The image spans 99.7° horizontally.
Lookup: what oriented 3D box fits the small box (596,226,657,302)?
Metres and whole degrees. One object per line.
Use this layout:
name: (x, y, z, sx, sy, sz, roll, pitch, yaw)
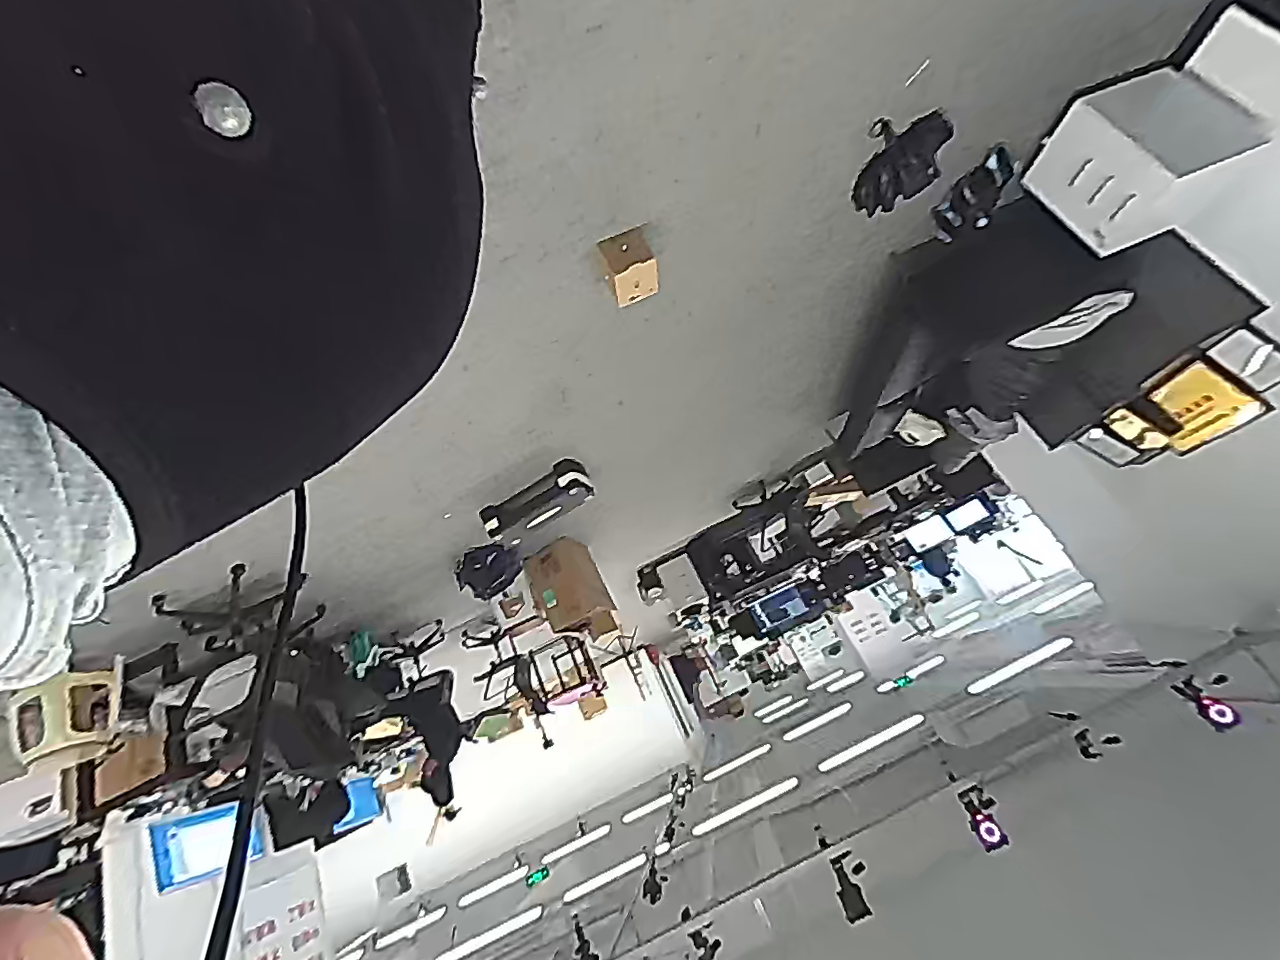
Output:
small box: (-0.050, -0.804, 1.996, 0.168, 0.176, 0.179, -25, 158, -5)
